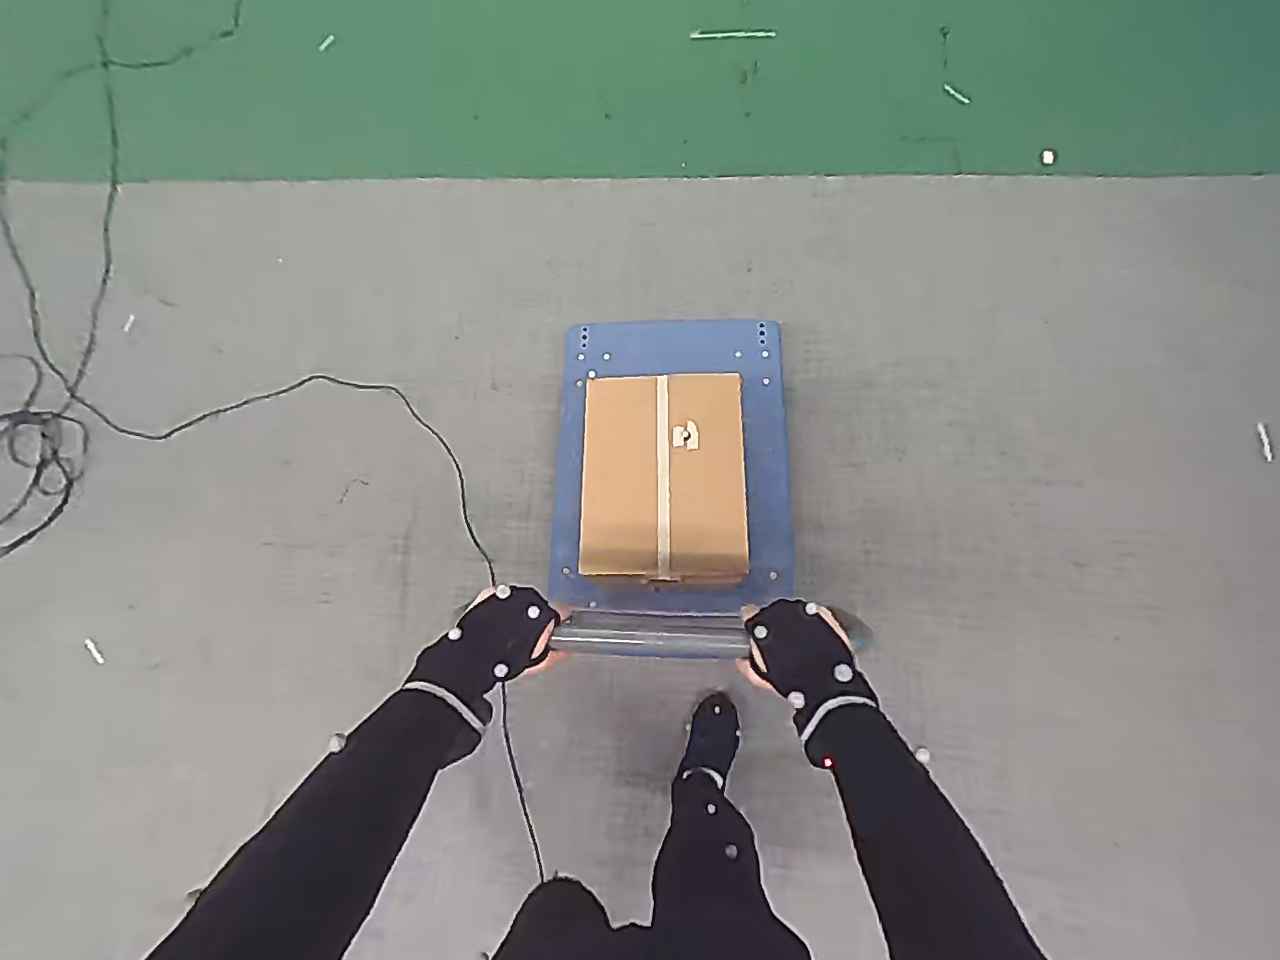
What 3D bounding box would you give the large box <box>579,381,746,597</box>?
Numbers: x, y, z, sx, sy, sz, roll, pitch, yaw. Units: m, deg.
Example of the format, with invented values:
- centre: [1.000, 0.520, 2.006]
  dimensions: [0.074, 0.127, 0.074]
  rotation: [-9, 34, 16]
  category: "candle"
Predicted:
- centre: [0.052, 0.039, 1.192]
  dimensions: [0.320, 0.320, 0.408]
  rotation: [-1, 72, 4]
  category: "large box"
